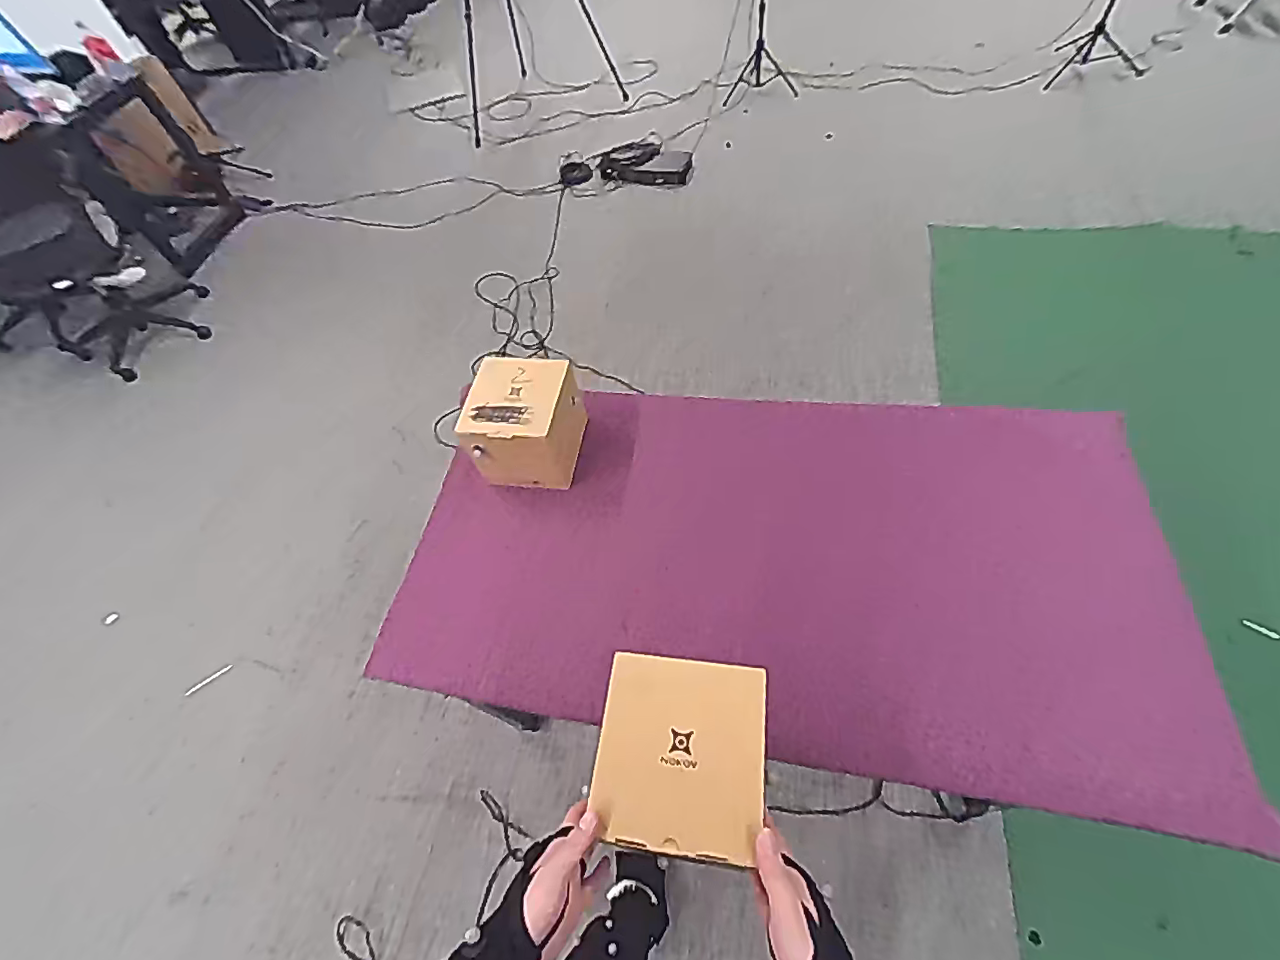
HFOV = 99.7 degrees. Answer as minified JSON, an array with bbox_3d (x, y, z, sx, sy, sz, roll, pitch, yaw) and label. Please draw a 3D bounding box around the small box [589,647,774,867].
[{"bbox_3d":[0.052,0.305,0.594,0.168,0.176,0.179,4,56,9],"label":"small box"}]
